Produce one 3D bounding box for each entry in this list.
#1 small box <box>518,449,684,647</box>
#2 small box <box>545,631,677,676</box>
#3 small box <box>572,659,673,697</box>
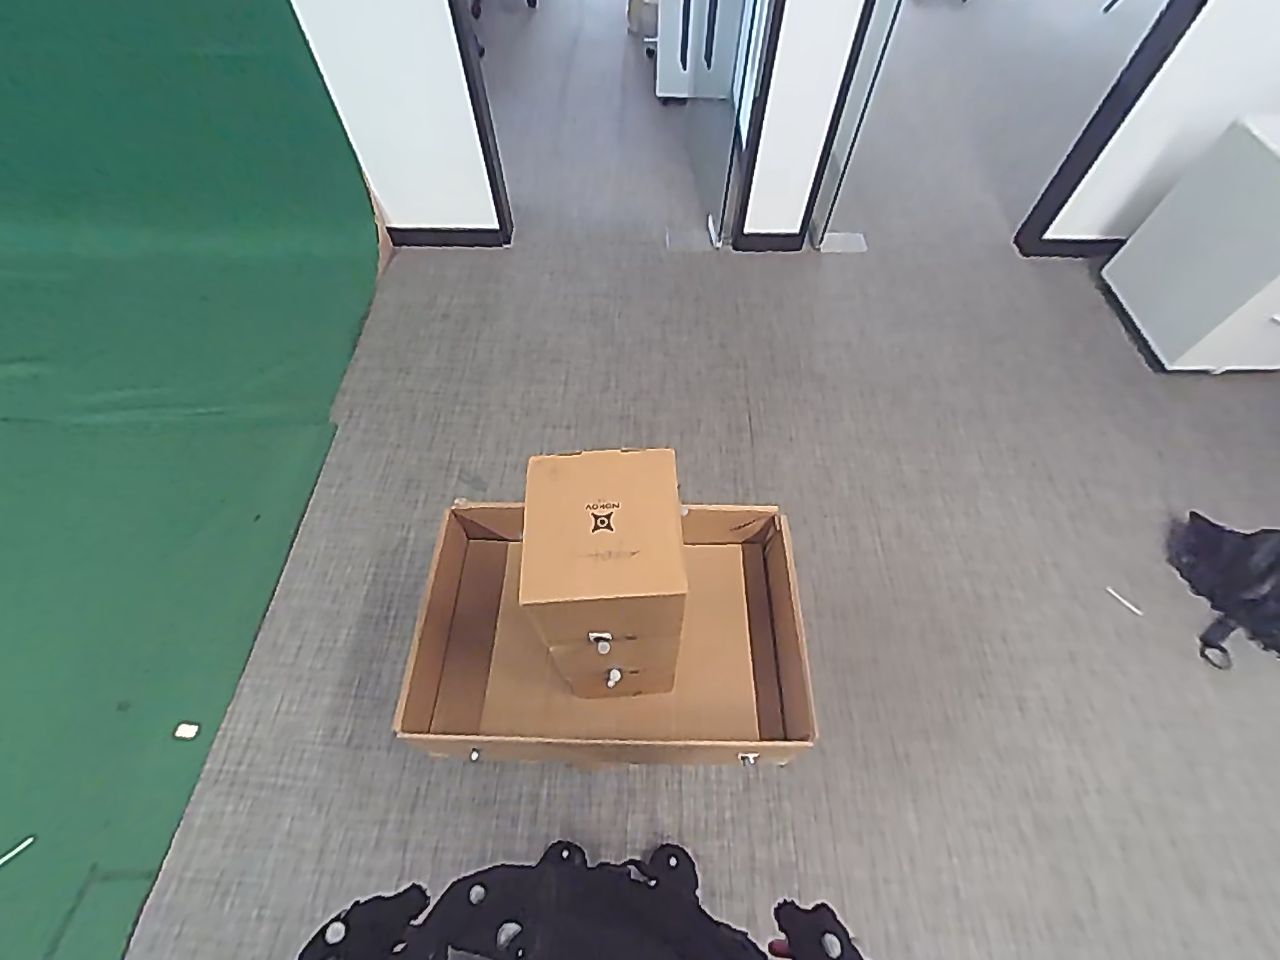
[{"bbox_3d":[-0.041,0.084,0.640,0.168,0.176,0.179,-4,58,0],"label":"small box"},{"bbox_3d":[-0.039,0.170,0.776,0.168,0.176,0.179,-3,58,-1],"label":"small box"},{"bbox_3d":[-0.035,0.254,0.917,0.168,0.176,0.179,-4,57,0],"label":"small box"}]
